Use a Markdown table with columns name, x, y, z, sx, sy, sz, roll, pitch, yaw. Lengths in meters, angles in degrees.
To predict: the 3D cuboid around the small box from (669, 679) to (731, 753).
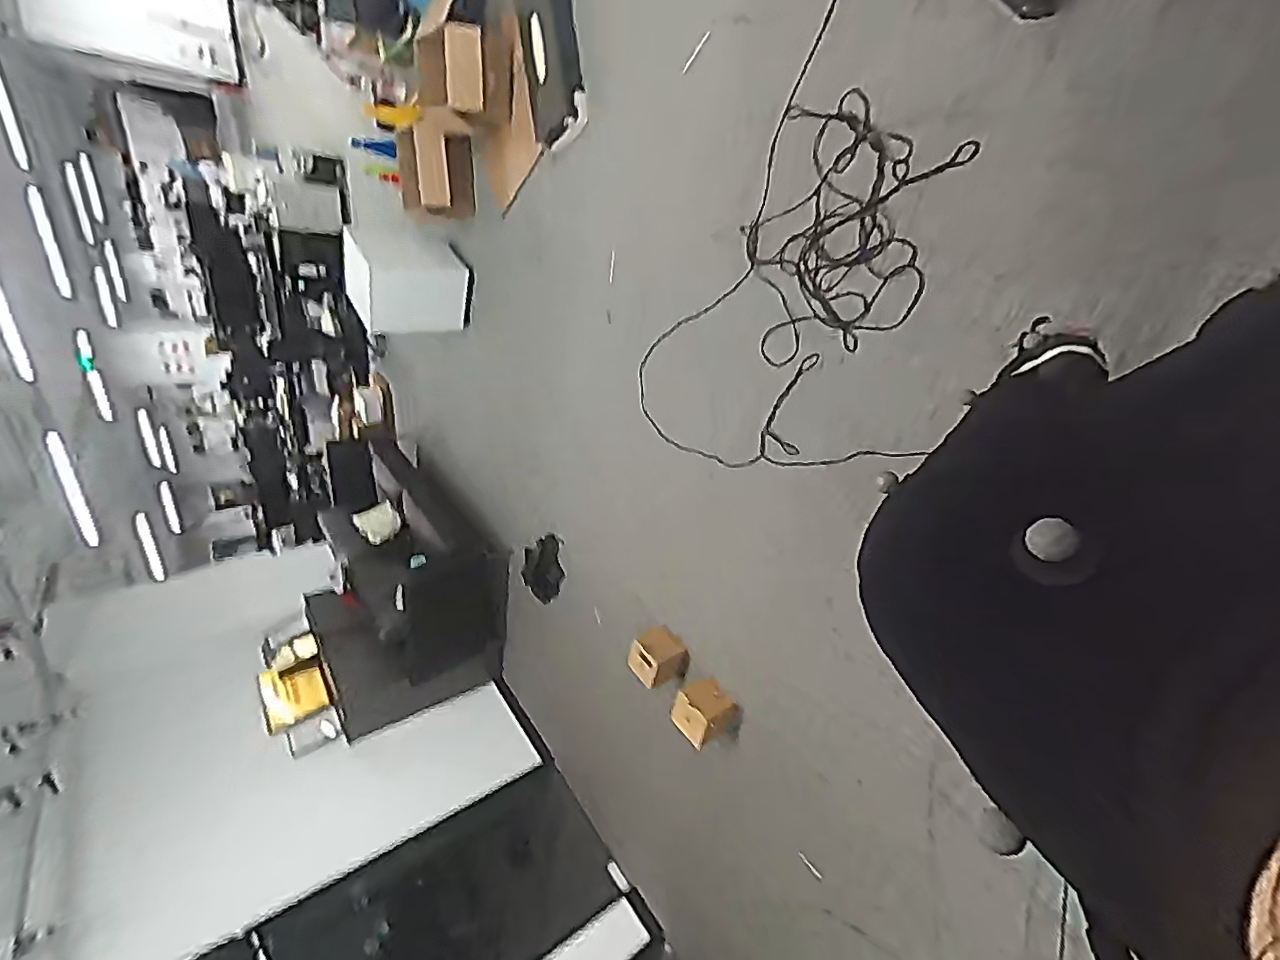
| name | x | y | z | sx | sy | sz | roll | pitch | yaw |
| --- | --- | --- | --- | --- | --- | --- | --- | --- | --- |
| small box | 0.239 | 0.929 | 2.136 | 0.168 | 0.176 | 0.179 | 36 | 126 | 42 |
